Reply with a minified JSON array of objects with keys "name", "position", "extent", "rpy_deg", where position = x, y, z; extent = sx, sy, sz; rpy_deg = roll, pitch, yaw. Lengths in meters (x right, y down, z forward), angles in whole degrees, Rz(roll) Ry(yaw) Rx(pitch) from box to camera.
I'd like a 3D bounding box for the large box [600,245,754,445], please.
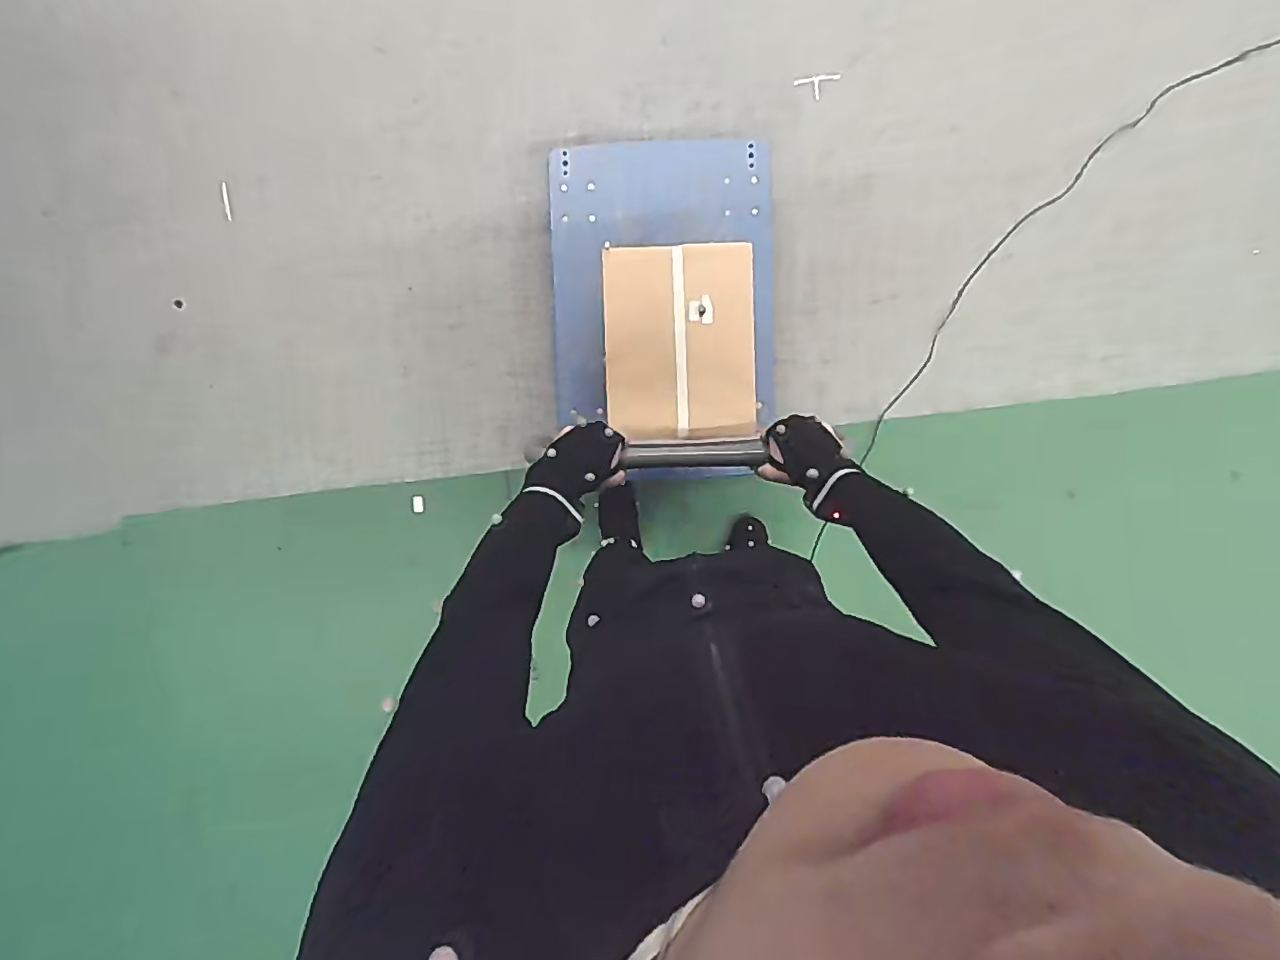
[{"name":"large box","position":[0.081,-0.293,1.287],"extent":[0.320,0.320,0.408],"rpy_deg":[-2,93,0]}]
